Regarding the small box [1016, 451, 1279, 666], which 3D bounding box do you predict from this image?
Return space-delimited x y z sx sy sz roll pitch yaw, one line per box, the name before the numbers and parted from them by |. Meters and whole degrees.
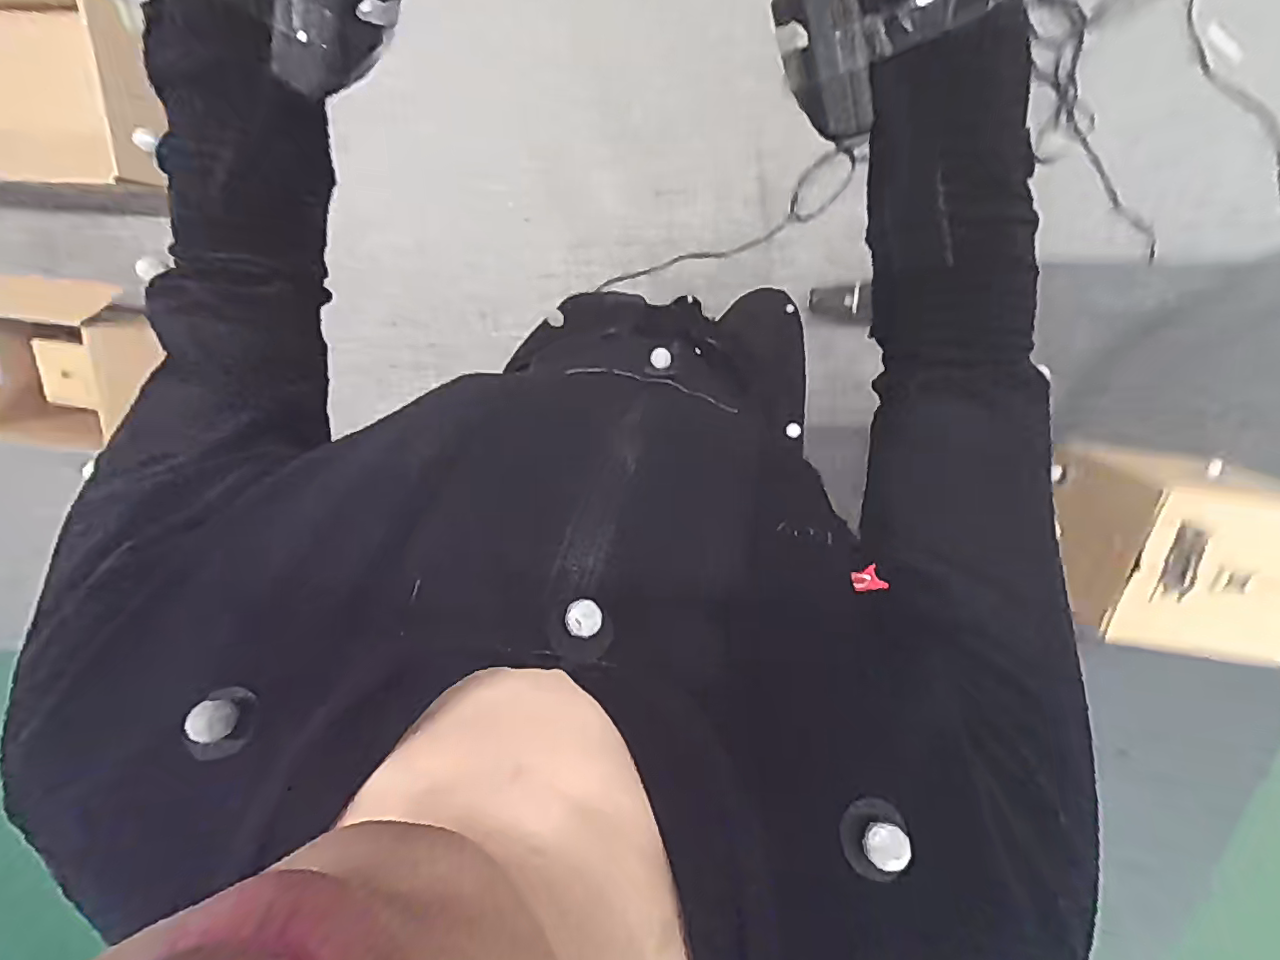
small box | 0.565 0.073 0.597 0.179 0.176 0.168 8 109 3
